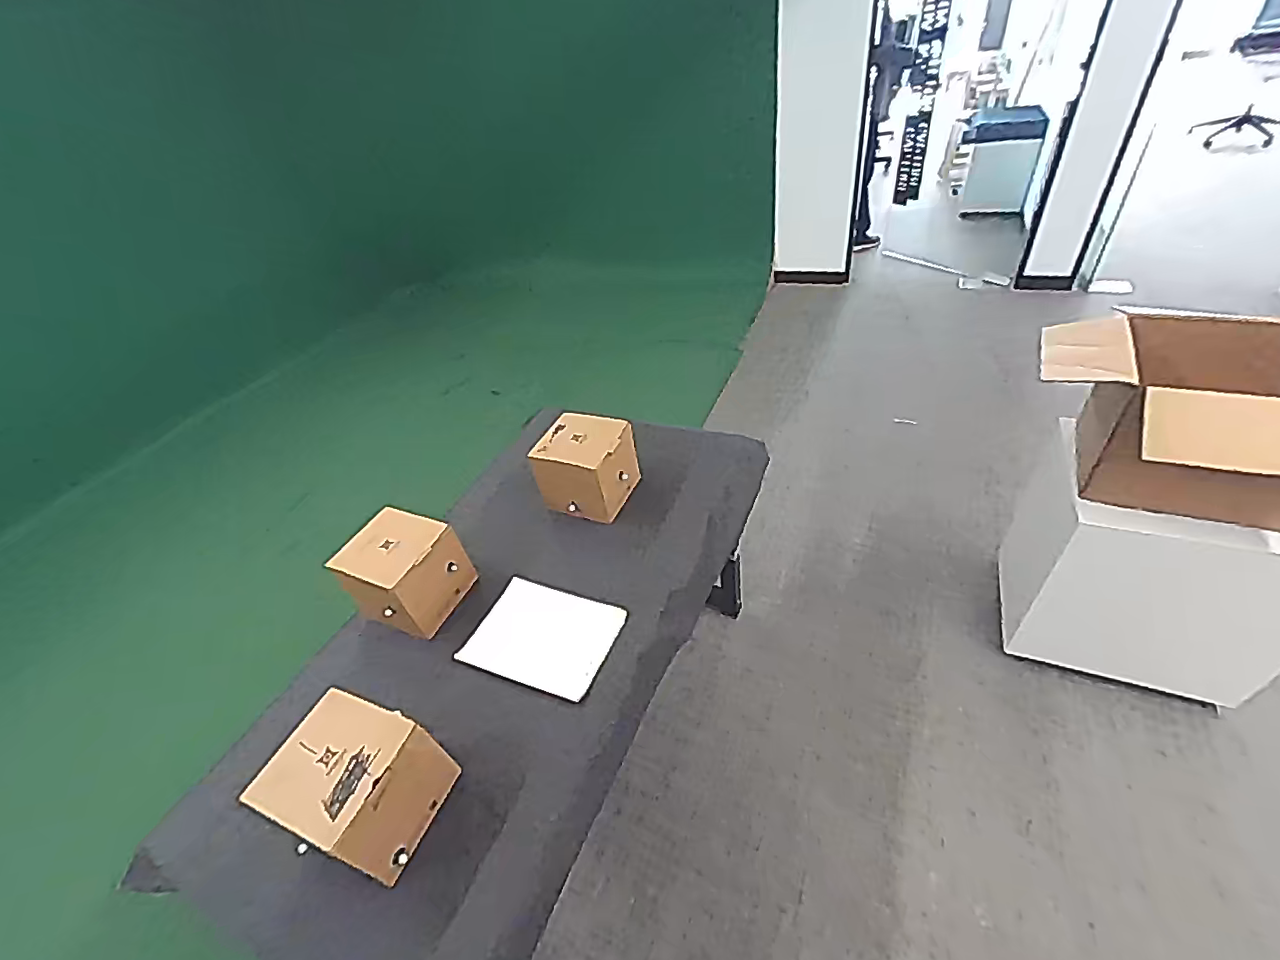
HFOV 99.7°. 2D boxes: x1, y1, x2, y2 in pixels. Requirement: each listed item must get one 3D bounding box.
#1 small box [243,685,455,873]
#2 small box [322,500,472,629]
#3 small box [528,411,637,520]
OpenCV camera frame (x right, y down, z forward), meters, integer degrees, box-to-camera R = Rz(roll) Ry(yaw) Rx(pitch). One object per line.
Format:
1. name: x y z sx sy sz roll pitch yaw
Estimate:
1. small box: -0.403 0.434 0.782 0.179 0.176 0.168 10 45 22
2. small box: -0.465 0.169 1.066 0.179 0.176 0.168 11 45 23
3. small box: -0.121 -0.031 1.235 0.179 0.176 0.168 13 47 22
